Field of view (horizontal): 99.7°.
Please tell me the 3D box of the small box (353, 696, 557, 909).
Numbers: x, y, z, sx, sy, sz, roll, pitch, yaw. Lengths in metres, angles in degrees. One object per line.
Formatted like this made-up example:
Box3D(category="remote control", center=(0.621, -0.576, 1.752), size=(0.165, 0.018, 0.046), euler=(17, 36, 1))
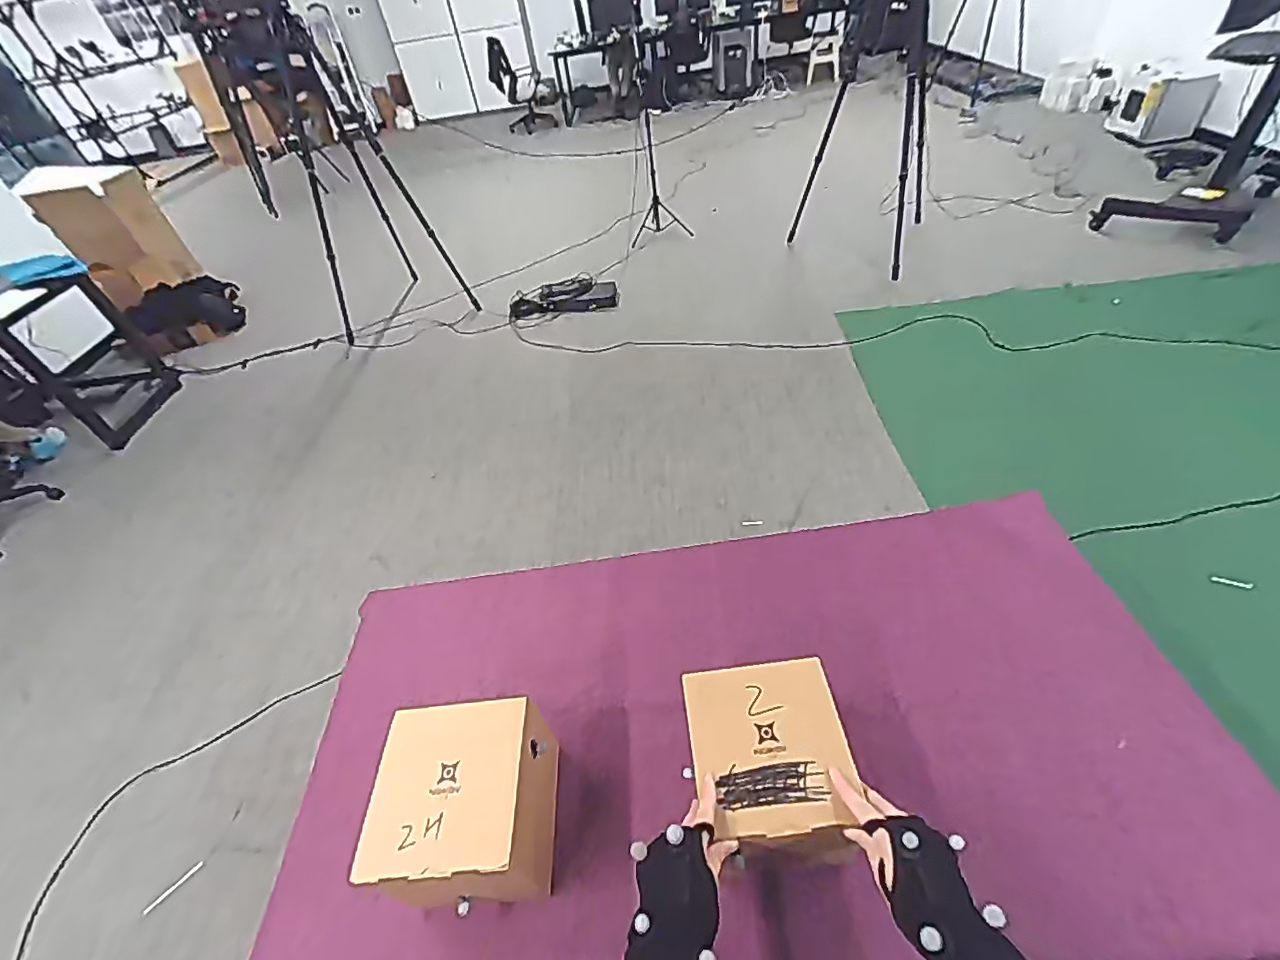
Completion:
Box3D(category="small box", center=(-0.201, 0.387, 0.649), size=(0.168, 0.176, 0.179), euler=(-8, 44, 3))
